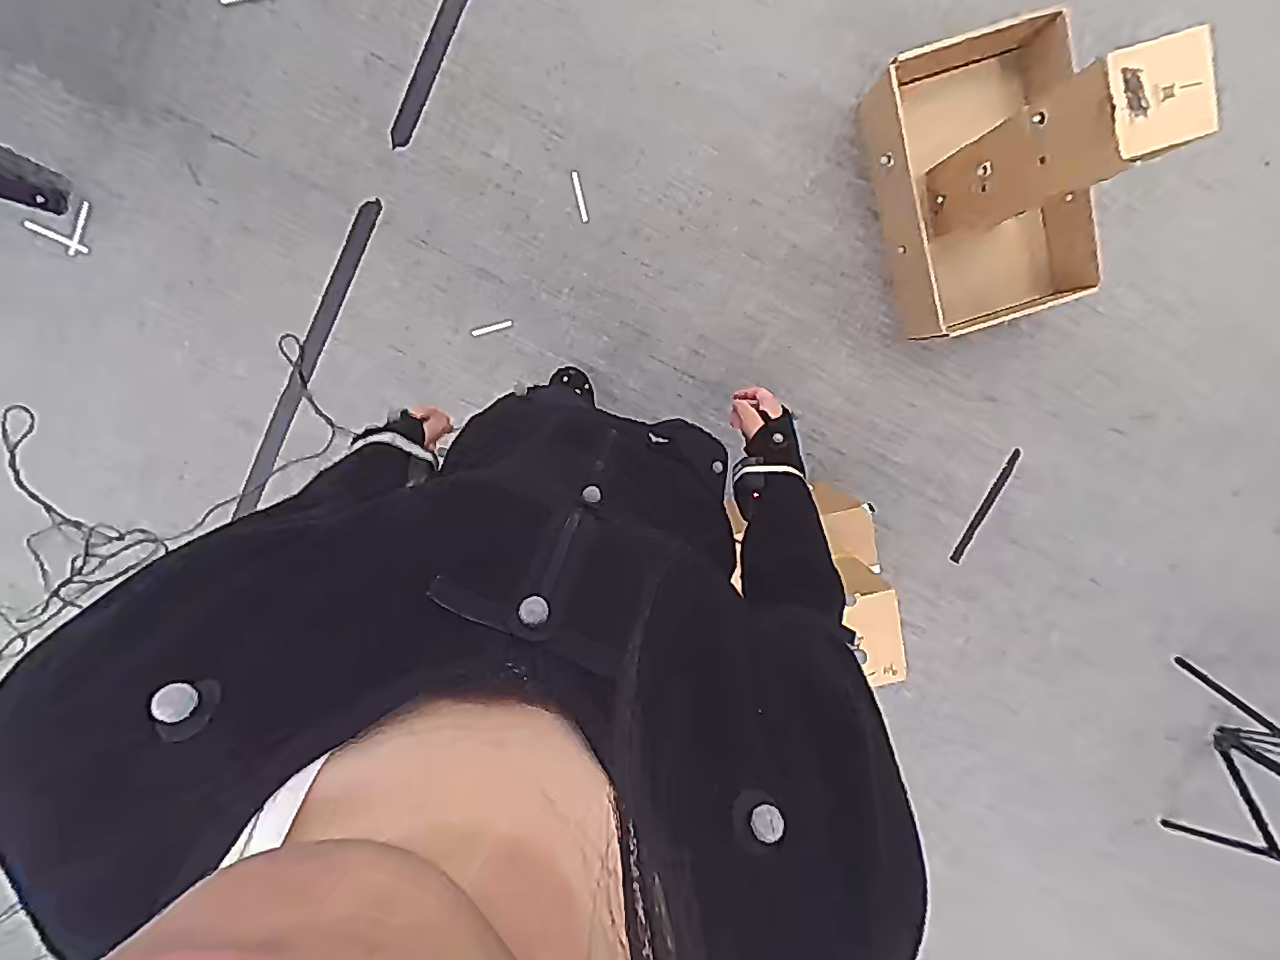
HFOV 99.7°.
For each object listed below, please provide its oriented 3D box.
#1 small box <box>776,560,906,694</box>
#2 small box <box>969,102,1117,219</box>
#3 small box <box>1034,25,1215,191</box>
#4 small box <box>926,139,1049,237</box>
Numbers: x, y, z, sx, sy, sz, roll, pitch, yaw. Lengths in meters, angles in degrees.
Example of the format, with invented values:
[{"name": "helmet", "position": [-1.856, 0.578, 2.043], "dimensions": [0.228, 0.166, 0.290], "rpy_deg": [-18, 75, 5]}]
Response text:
[{"name": "small box", "position": [0.362, 0.258, 1.000], "dimensions": [0.168, 0.176, 0.179], "rpy_deg": [-12, 100, 0]}, {"name": "small box", "position": [0.822, -0.665, 1.114], "dimensions": [0.179, 0.176, 0.168], "rpy_deg": [-15, 100, 1]}, {"name": "small box", "position": [0.835, -0.639, 0.952], "dimensions": [0.179, 0.176, 0.168], "rpy_deg": [-17, 100, -1]}, {"name": "small box", "position": [0.813, -0.695, 1.273], "dimensions": [0.179, 0.176, 0.168], "rpy_deg": [-14, 100, 0]}]
